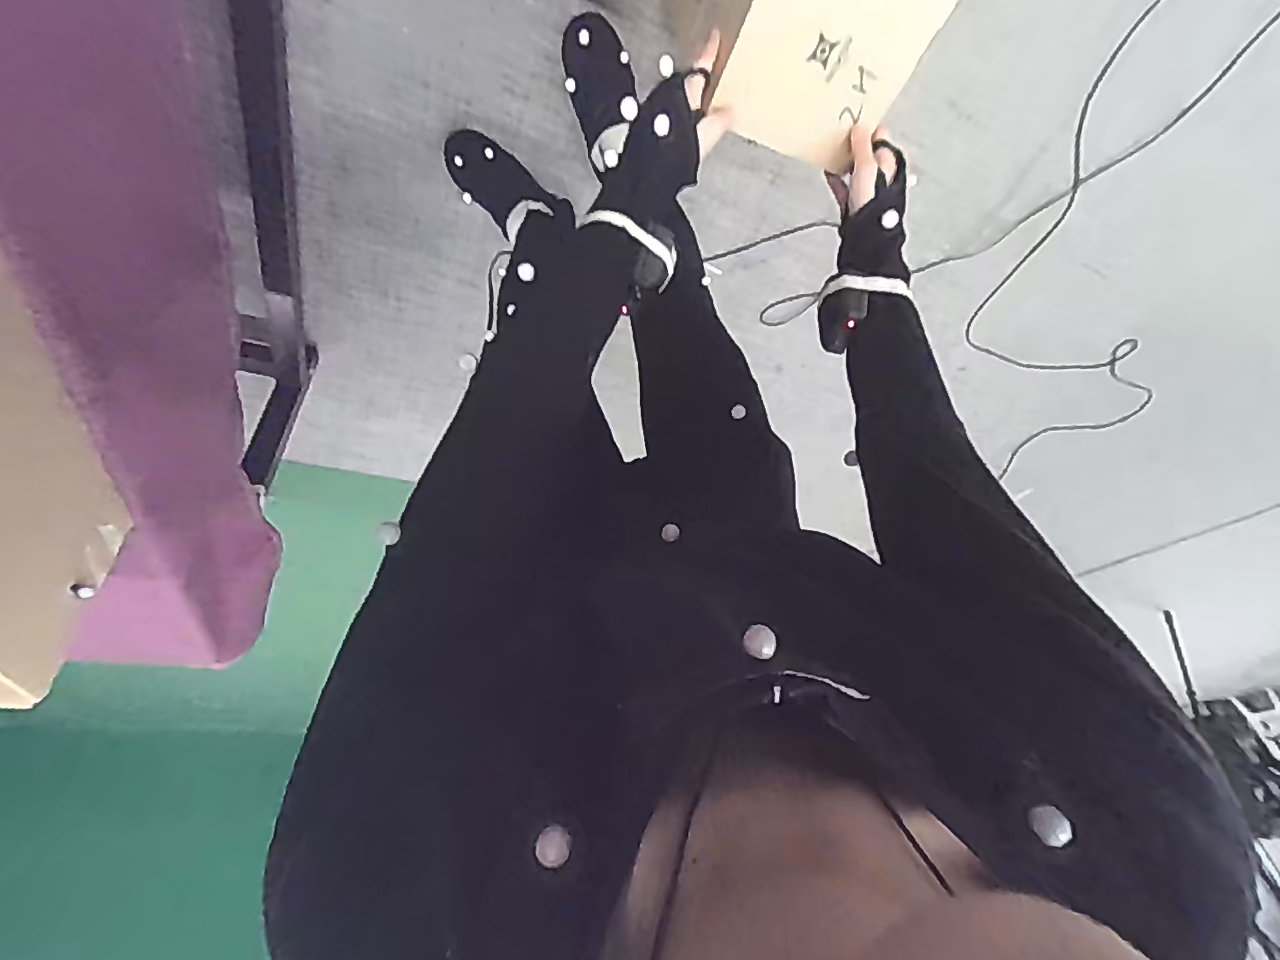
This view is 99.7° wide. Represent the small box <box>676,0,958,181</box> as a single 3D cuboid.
[{"bbox_3d":[0.153,-0.439,0.533,0.179,0.176,0.168,6,141,-23],"label":"small box"}]
